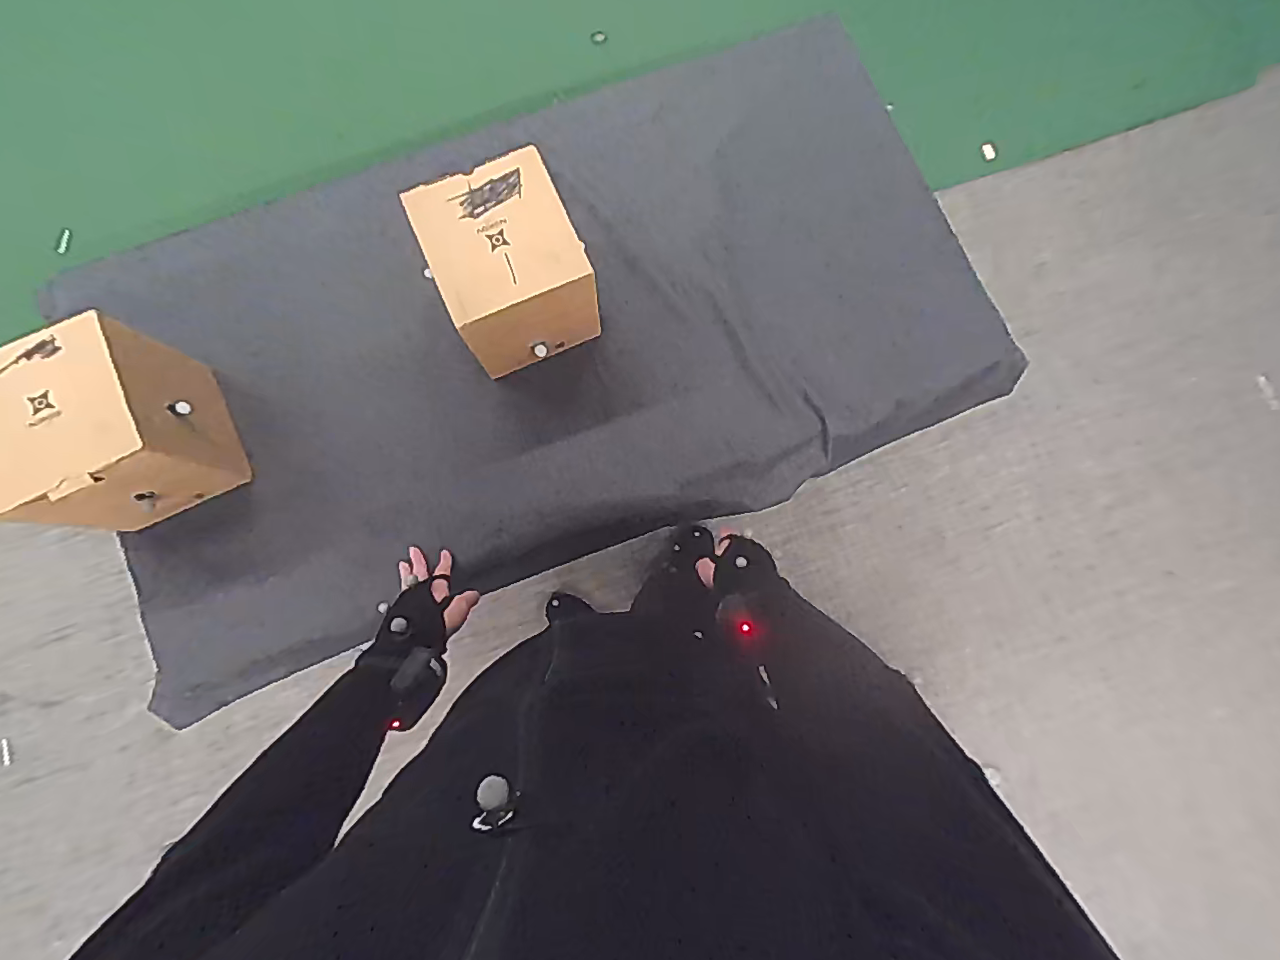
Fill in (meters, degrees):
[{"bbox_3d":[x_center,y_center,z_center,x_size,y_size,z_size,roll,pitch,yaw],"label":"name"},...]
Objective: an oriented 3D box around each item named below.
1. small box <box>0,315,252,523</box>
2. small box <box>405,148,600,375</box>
[{"bbox_3d":[-0.614,-0.057,0.645,0.168,0.176,0.179,-26,82,-5],"label":"small box"},{"bbox_3d":[-0.160,-0.261,0.681,0.168,0.176,0.179,-24,83,-4],"label":"small box"}]
